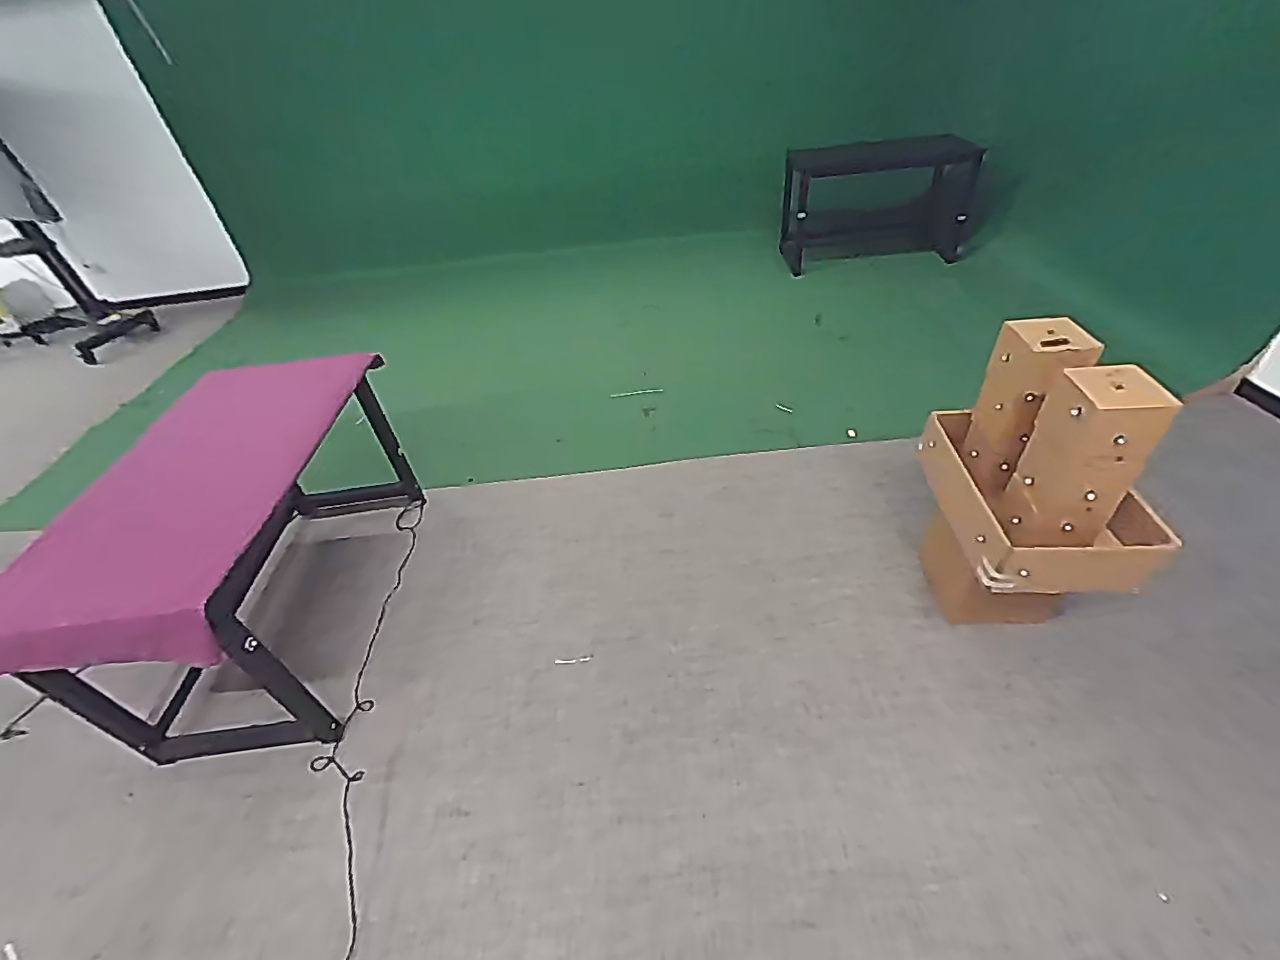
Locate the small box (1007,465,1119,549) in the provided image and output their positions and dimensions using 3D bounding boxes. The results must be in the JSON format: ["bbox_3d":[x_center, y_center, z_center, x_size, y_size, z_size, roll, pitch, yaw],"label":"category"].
[{"bbox_3d":[1.132,0.074,1.471,0.179,0.176,0.168,1,43,11],"label":"small box"}]

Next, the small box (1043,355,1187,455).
[{"bbox_3d":[1.085,-0.169,1.255,0.168,0.176,0.179,-2,42,9],"label":"small box"}]

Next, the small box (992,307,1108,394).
[{"bbox_3d":[1.088,-0.342,1.450,0.168,0.176,0.179,-3,42,7],"label":"small box"}]

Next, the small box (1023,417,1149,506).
[{"bbox_3d":[1.112,-0.047,1.364,0.168,0.176,0.179,0,44,11],"label":"small box"}]
